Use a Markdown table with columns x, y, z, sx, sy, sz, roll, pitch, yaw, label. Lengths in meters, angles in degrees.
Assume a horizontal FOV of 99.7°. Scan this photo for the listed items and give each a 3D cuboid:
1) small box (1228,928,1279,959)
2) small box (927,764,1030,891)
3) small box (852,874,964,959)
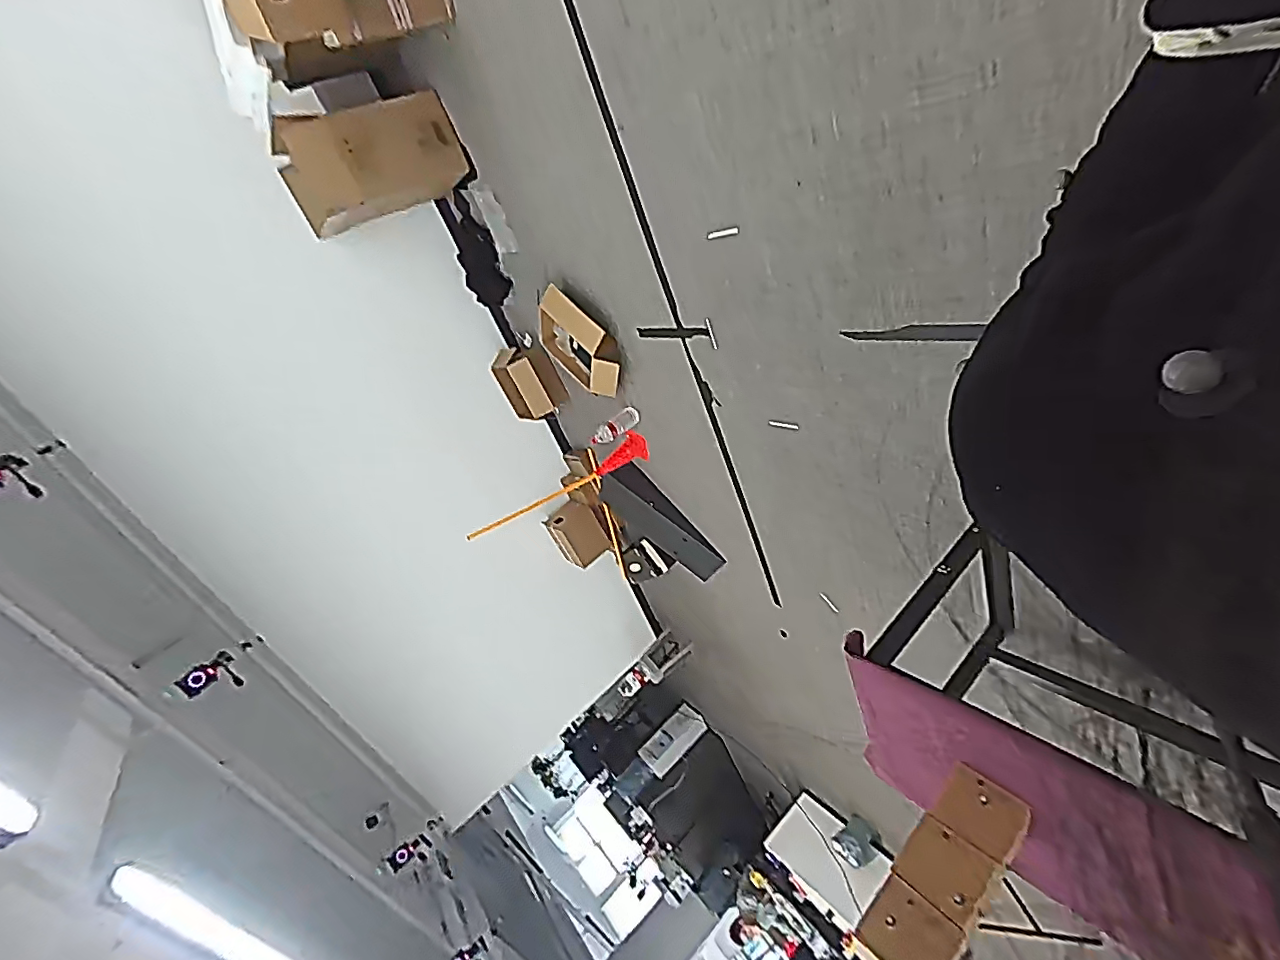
| x | y | z | sx | sy | sz | roll | pitch | yaw | label |
| --- | --- | --- | --- | --- | --- | --- | --- | --- | --- |
| 1.122 | 0.939 | 0.930 | 0.168 | 0.176 | 0.179 | 21 | 141 | 51 | small box |
| 0.837 | 0.855 | 1.341 | 0.168 | 0.176 | 0.179 | 24 | 144 | 47 | small box |
| 0.598 | 1.033 | 1.207 | 0.168 | 0.176 | 0.179 | 27 | 147 | 47 | small box |
